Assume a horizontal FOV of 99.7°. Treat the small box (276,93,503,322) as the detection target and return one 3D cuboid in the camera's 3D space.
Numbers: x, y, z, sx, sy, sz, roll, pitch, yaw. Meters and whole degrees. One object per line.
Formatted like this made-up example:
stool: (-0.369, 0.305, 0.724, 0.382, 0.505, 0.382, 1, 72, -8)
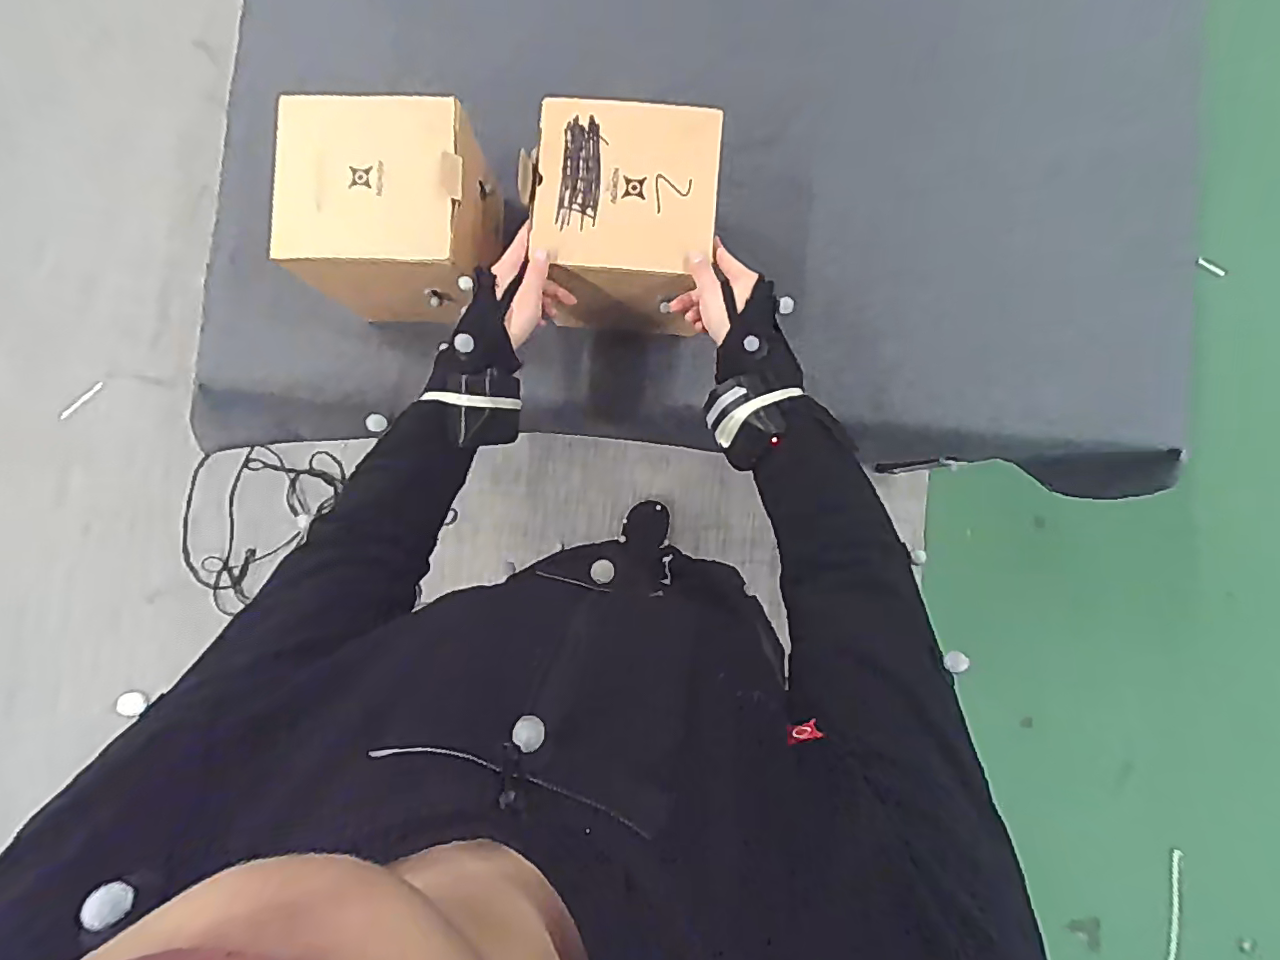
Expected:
small box: (-0.255, -0.282, 0.592, 0.179, 0.176, 0.168, 0, 86, 1)
